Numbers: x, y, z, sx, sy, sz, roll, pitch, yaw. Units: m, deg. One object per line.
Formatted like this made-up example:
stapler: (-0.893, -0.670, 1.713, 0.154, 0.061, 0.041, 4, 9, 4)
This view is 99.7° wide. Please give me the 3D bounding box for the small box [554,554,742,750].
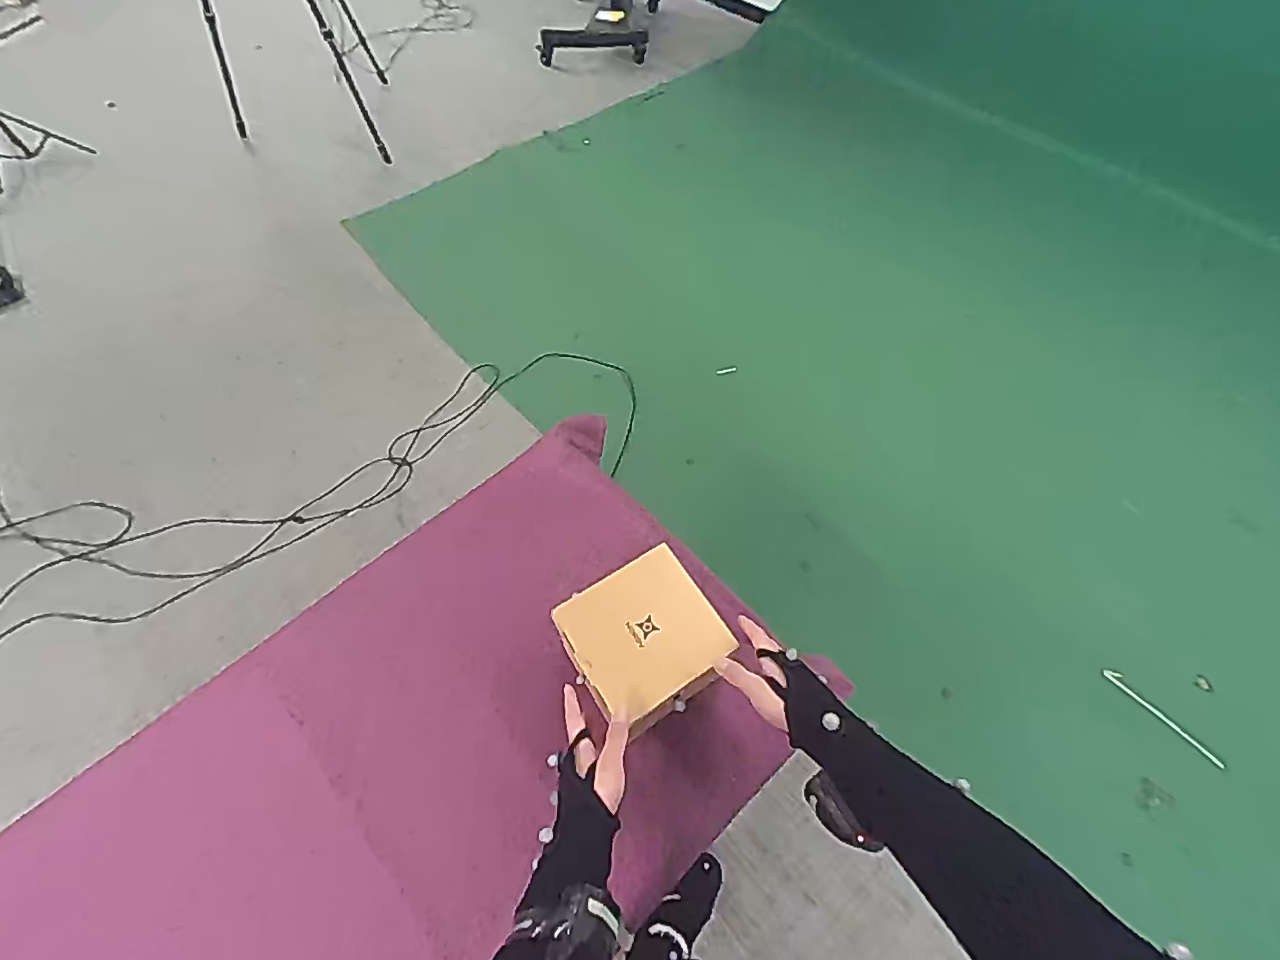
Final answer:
small box: (0.007, 0.233, 0.721, 0.179, 0.176, 0.168, -30, 64, -16)
